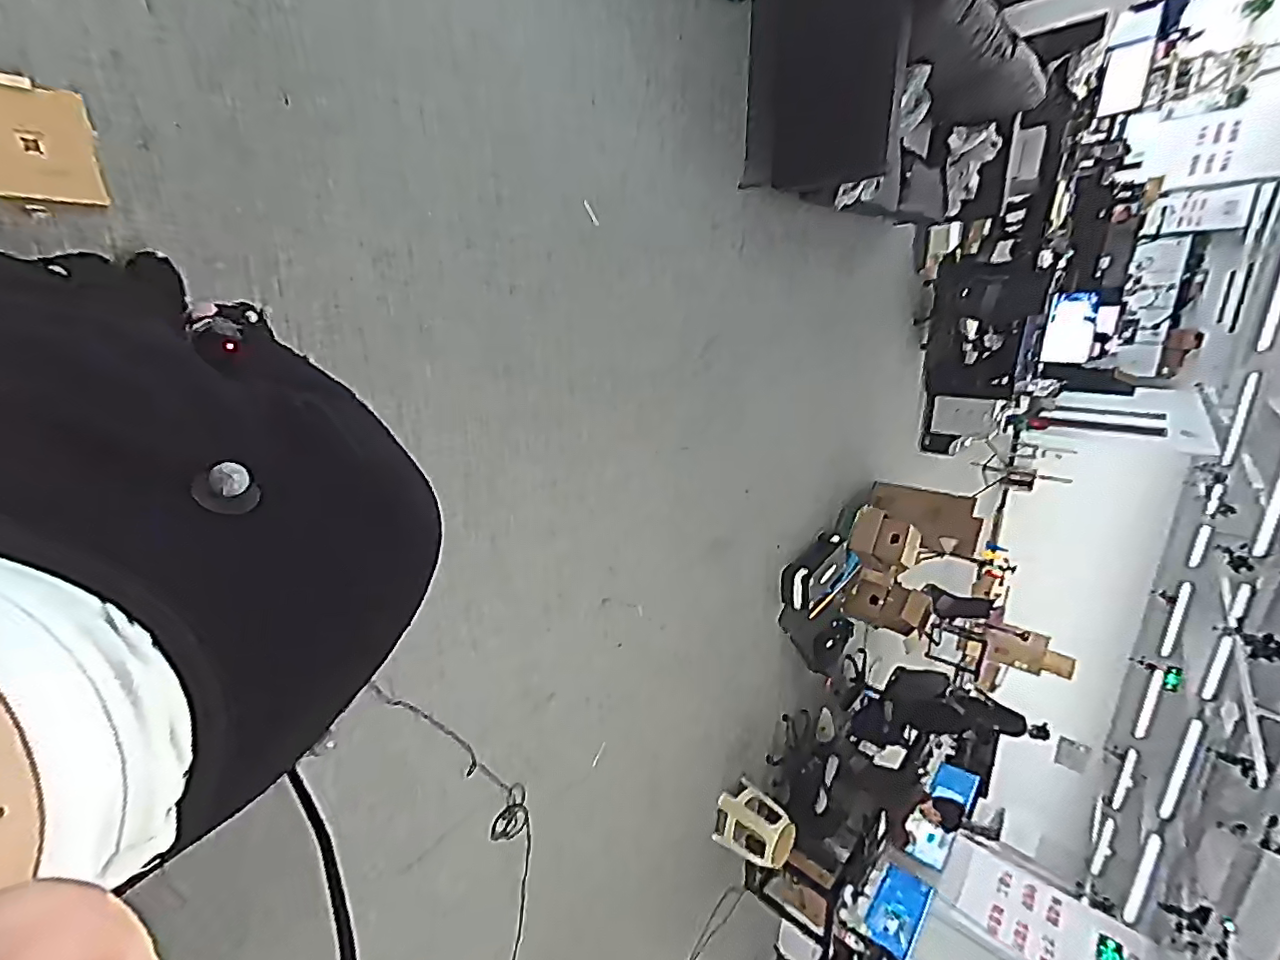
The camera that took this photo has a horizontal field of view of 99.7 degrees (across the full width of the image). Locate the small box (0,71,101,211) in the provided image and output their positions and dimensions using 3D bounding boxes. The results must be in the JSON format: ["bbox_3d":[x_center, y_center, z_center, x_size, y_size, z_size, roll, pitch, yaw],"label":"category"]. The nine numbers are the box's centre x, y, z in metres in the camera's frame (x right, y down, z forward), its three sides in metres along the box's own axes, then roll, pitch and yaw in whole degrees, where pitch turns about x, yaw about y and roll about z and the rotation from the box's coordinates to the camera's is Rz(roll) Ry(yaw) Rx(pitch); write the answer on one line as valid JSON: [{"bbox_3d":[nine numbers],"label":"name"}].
[{"bbox_3d":[-1.071,-0.583,0.935,0.168,0.176,0.179,-14,112,-44],"label":"small box"}]
